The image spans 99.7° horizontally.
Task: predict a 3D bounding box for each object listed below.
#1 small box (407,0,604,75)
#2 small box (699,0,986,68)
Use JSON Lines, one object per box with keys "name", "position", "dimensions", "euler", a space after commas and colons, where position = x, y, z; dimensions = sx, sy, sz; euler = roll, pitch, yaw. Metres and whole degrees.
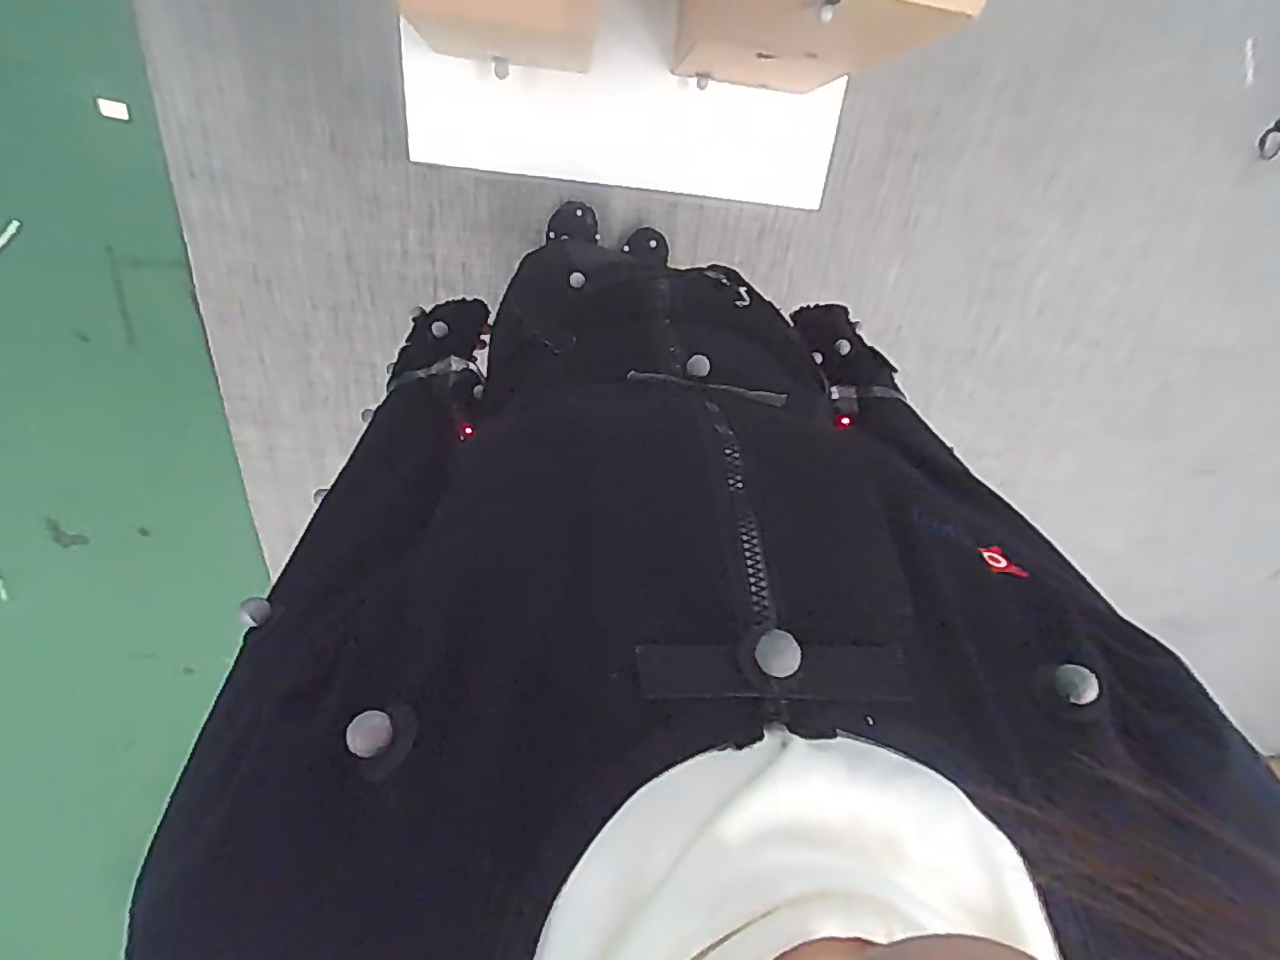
{"name": "small box", "position": [-0.117, -0.499, 0.495], "dimensions": [0.168, 0.176, 0.179], "euler": [0, 119, -6]}
{"name": "small box", "position": [0.145, -0.423, 0.377], "dimensions": [0.168, 0.176, 0.179], "euler": [3, 116, -8]}
